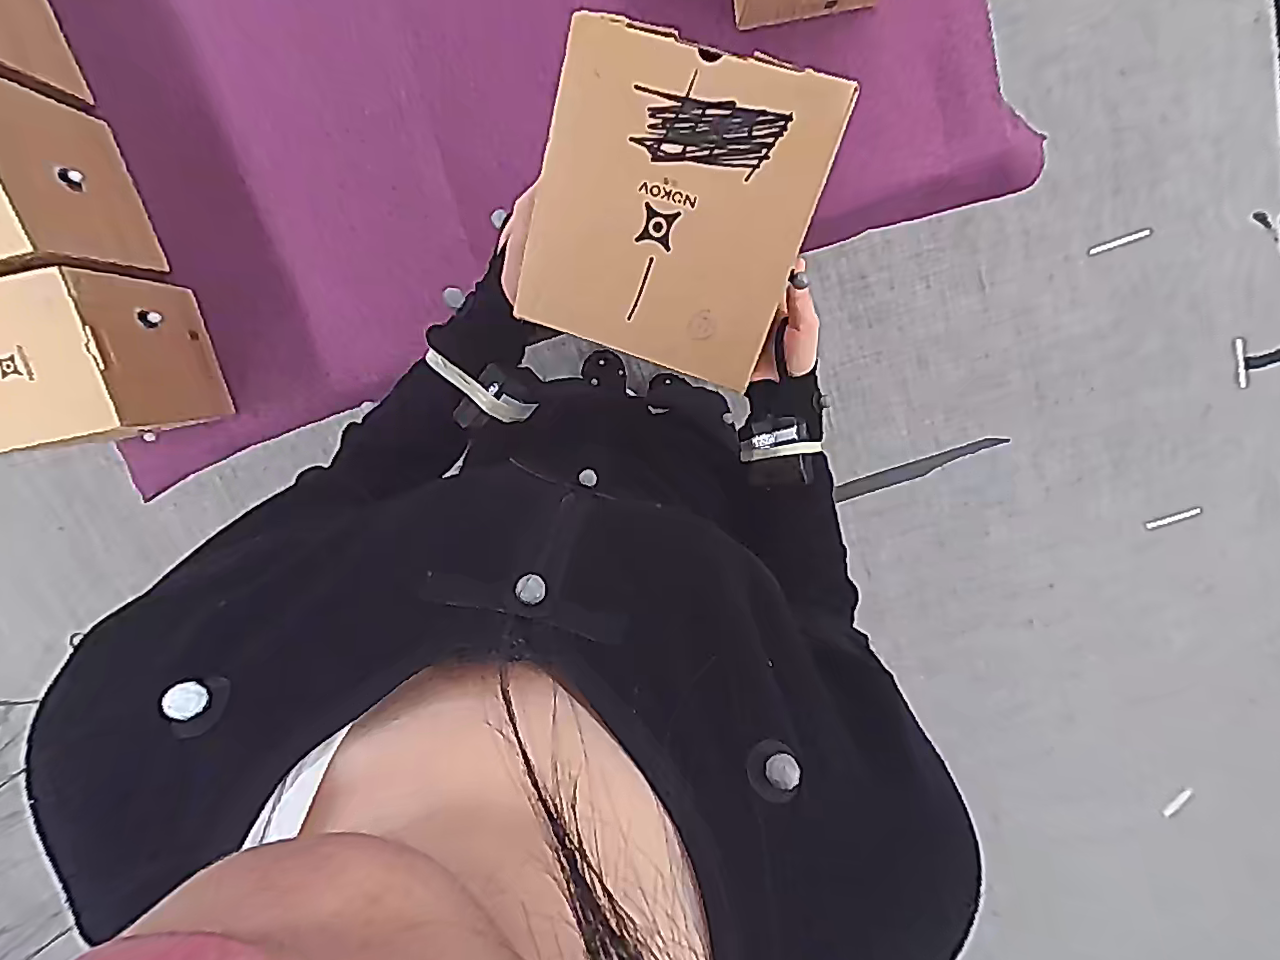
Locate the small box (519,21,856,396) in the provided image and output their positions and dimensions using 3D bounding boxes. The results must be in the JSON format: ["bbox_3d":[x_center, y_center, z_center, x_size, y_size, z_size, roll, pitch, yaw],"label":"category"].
[{"bbox_3d":[0.035,-0.182,0.406,0.168,0.176,0.179,21,110,7],"label":"small box"}]

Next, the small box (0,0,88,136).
[{"bbox_3d":[-0.738,-0.478,0.540,0.168,0.176,0.179,-15,104,2],"label":"small box"}]
